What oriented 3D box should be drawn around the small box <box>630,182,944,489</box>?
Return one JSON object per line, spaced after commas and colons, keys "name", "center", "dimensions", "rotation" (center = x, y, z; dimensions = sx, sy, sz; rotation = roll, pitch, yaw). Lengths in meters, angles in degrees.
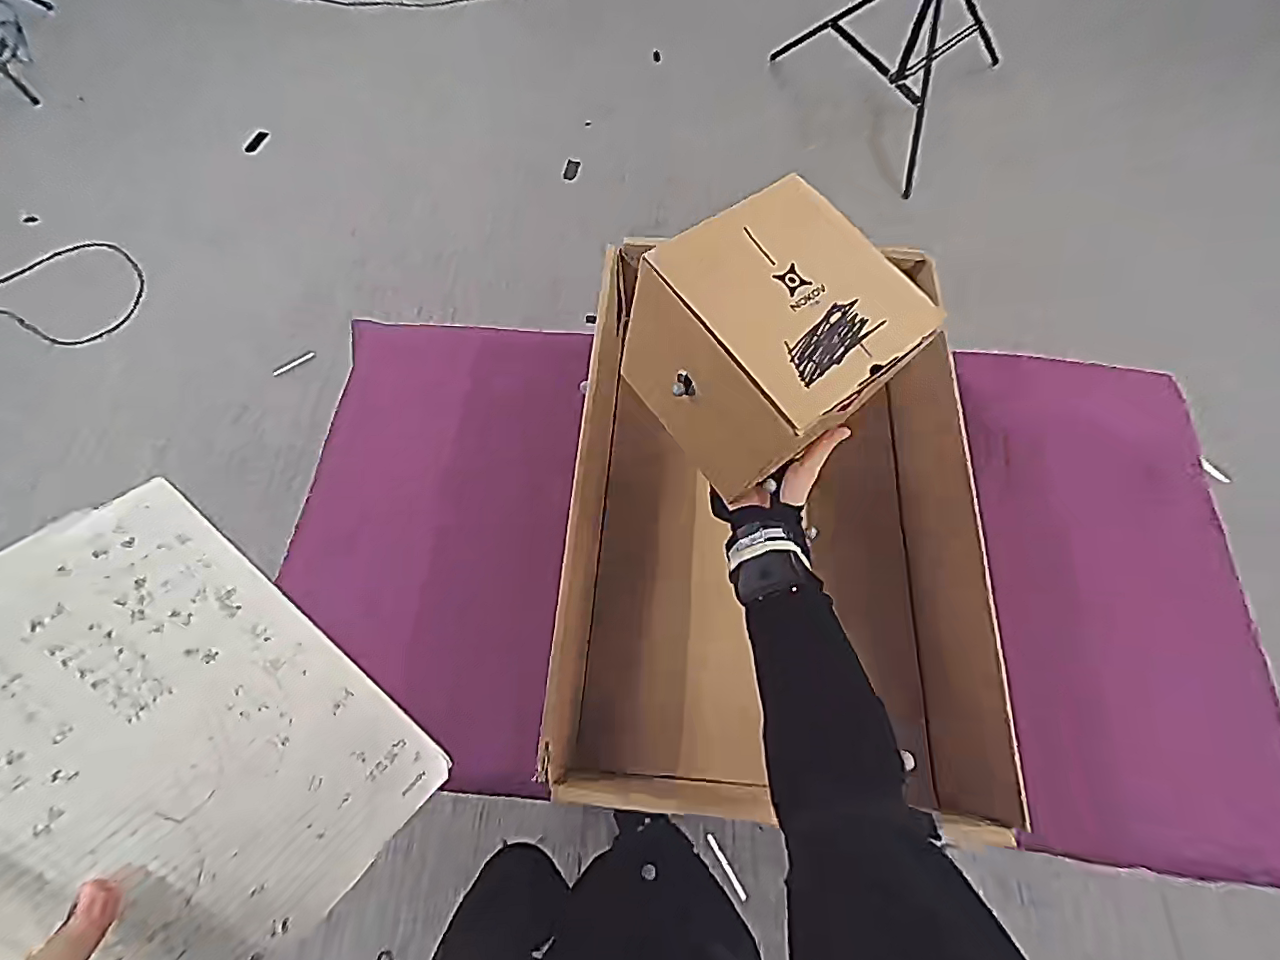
{"name": "small box", "center": [0.109, -0.111, 0.479], "dimensions": [0.168, 0.176, 0.179], "rotation": [-34, 76, -18]}
